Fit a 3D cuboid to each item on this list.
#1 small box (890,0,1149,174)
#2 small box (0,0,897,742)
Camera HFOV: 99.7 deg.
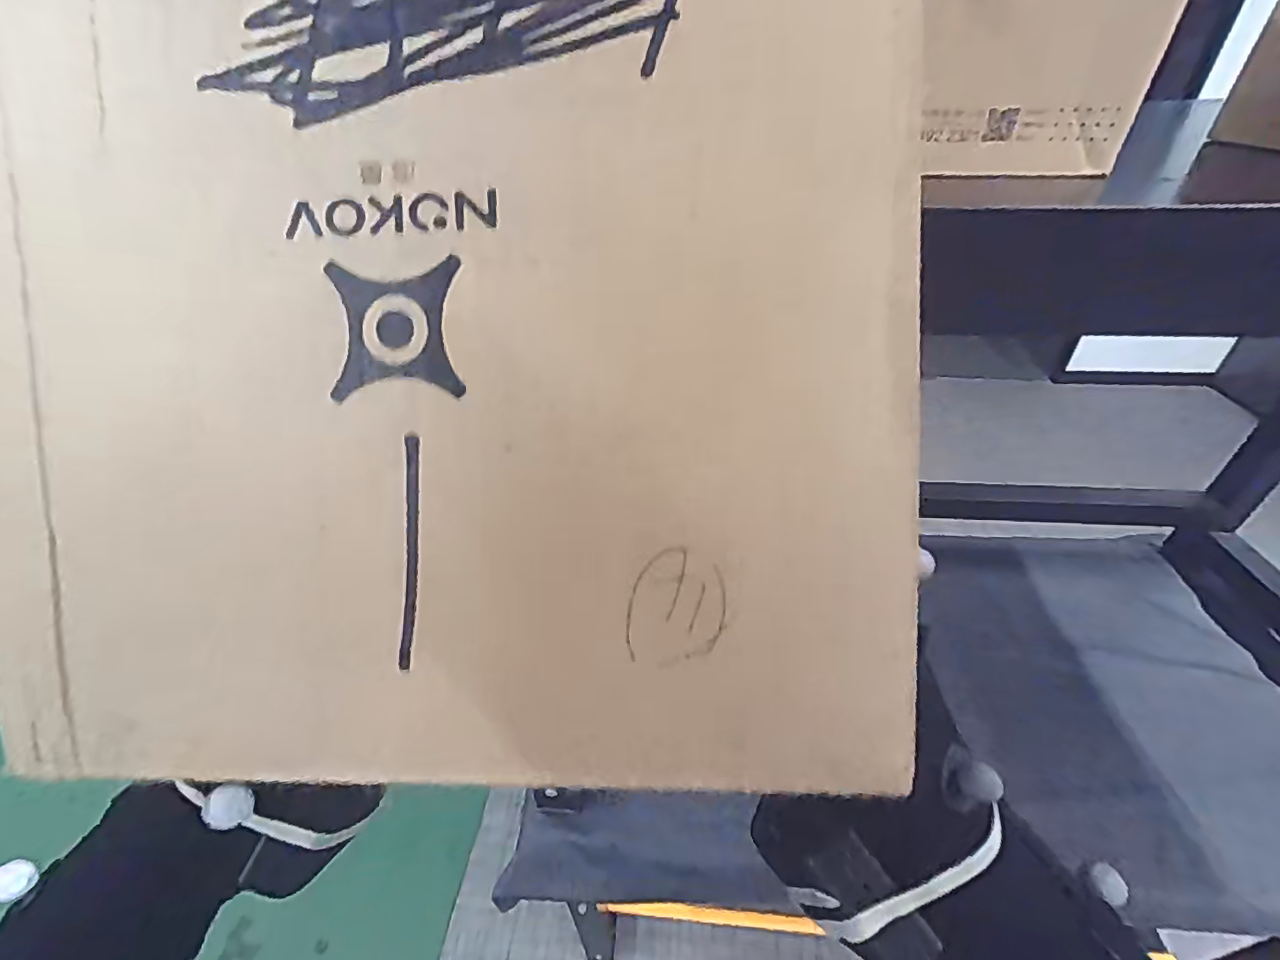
[{"bbox_3d":[0.171,-0.283,0.315,0.168,0.176,0.179,4,37,8],"label":"small box"},{"bbox_3d":[-0.035,-0.043,0.175,0.168,0.179,0.176,-1,3,4],"label":"small box"}]
